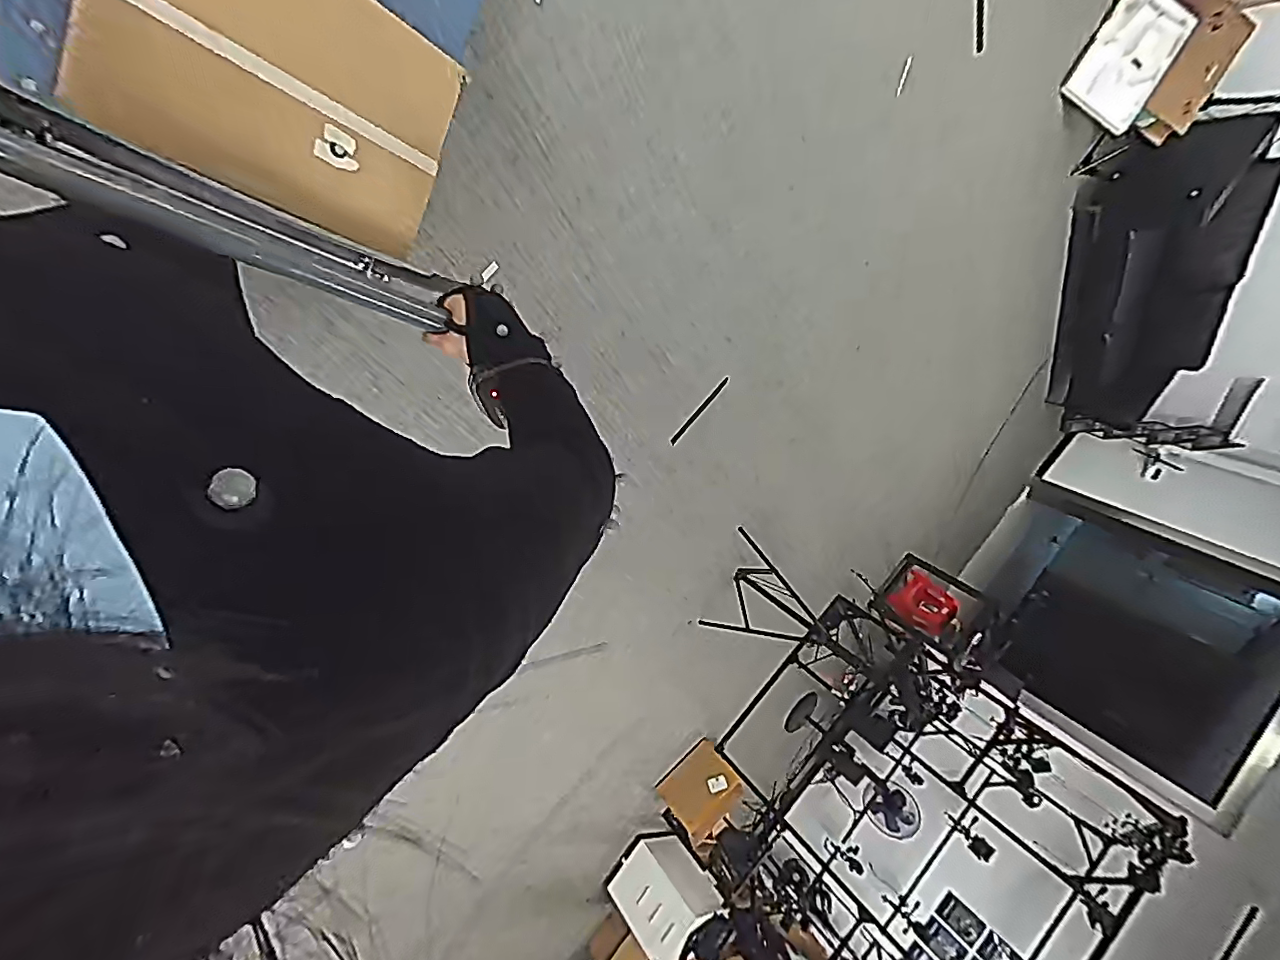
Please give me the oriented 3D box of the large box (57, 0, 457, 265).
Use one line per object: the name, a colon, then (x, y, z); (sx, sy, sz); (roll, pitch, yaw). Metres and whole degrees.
large box: (-0.570, -0.578, 0.827); (0.408, 0.320, 0.320); (13, 105, -47)
